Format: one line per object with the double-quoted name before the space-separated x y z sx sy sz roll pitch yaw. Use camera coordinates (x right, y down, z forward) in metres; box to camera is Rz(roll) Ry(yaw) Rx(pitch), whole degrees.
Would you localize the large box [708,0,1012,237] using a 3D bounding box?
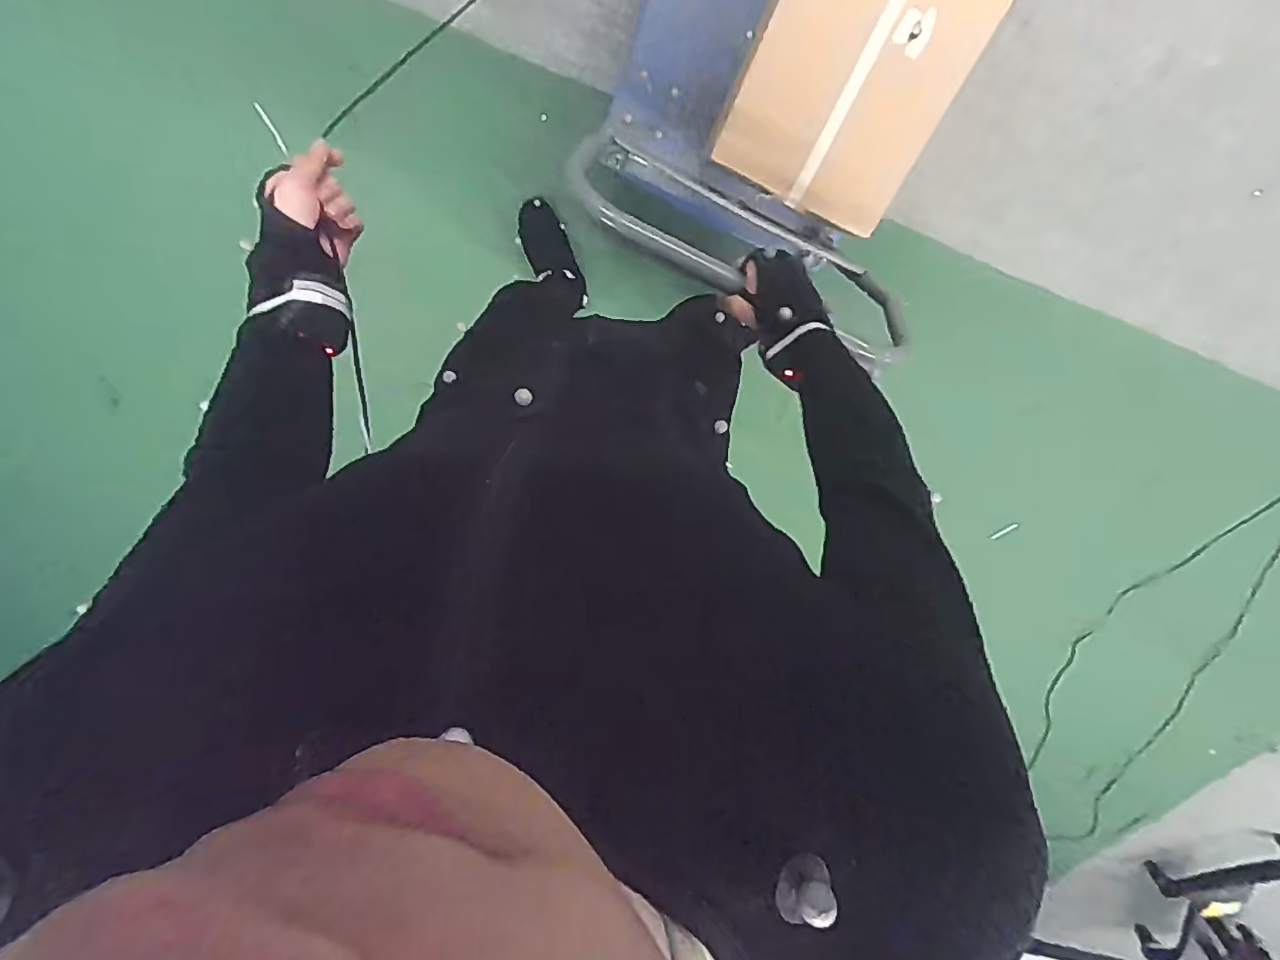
"large box" 0.350 -0.706 0.965 0.320 0.320 0.408 22 117 -11
